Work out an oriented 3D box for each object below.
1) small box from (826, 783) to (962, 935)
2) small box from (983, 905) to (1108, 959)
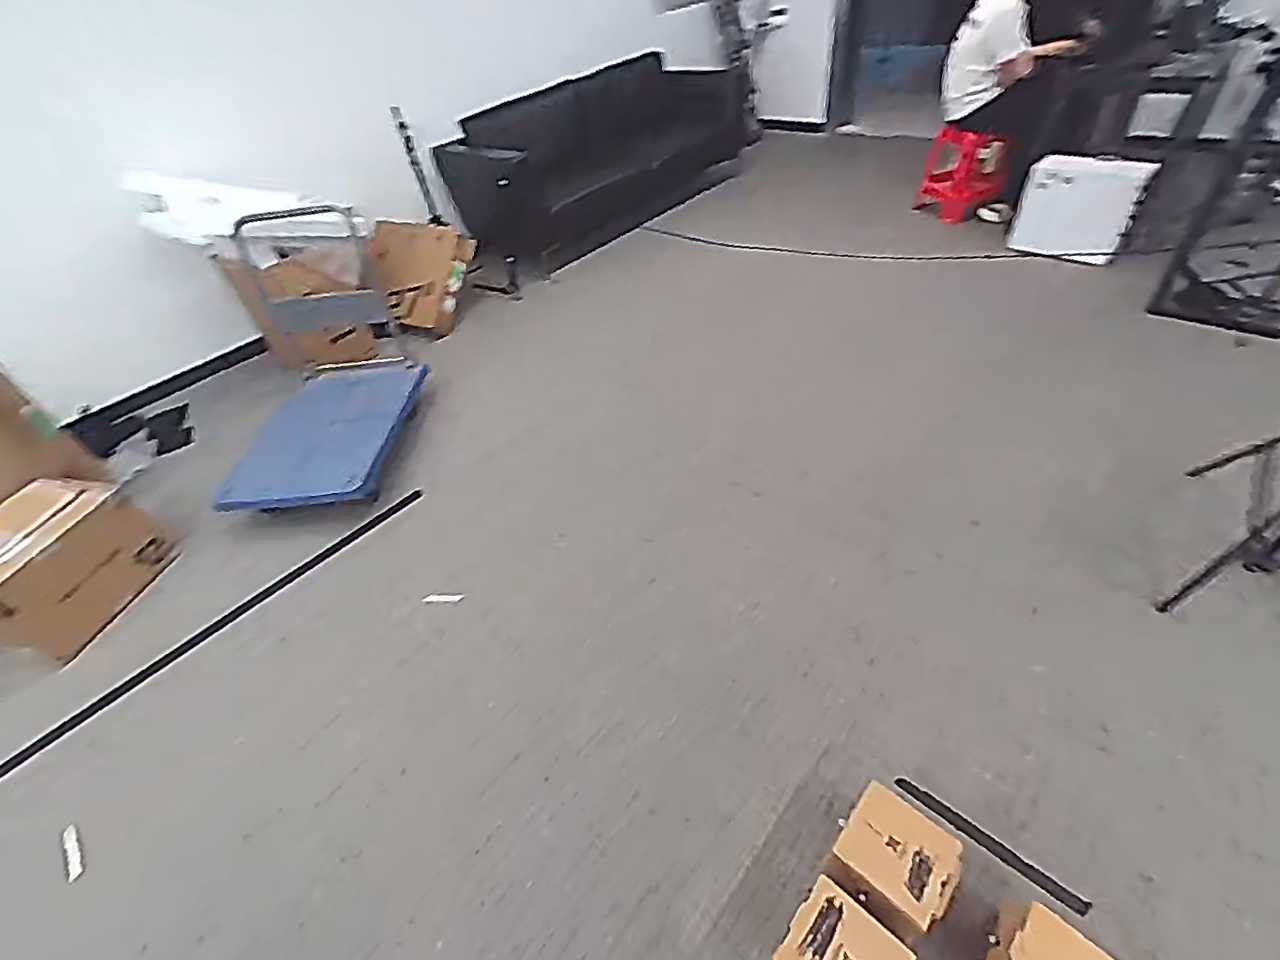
[{"bbox_3d":[0.487,0.743,1.057,0.179,0.176,0.168,29,56,35],"label":"small box"},{"bbox_3d":[0.690,0.862,0.897,0.179,0.176,0.168,31,57,36],"label":"small box"}]
